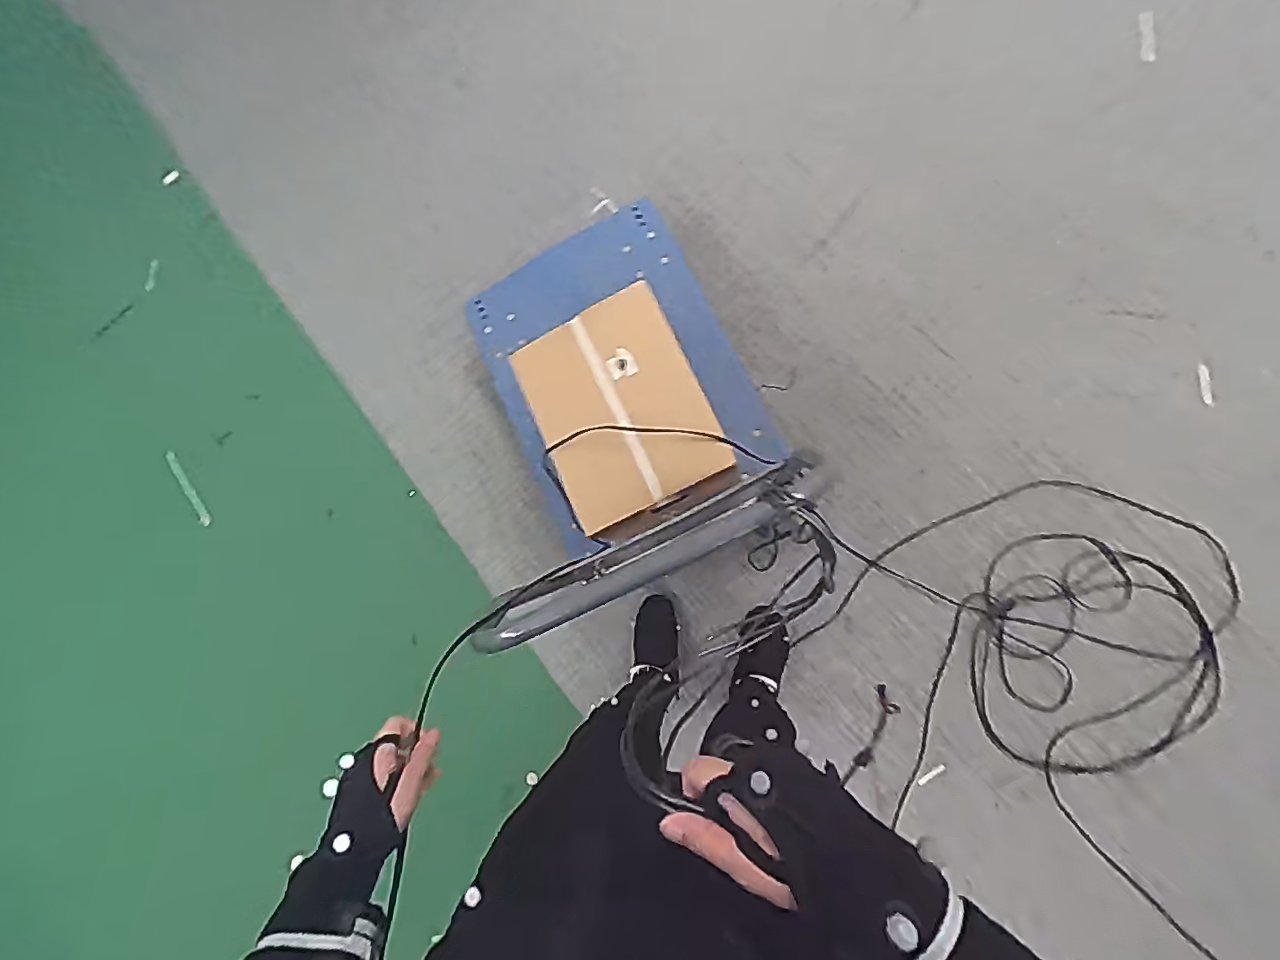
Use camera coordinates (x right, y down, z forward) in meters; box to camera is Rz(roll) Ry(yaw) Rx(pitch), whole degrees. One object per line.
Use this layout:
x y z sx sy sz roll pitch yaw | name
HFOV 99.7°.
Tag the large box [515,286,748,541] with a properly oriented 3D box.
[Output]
0.000 -0.114 1.157 0.320 0.320 0.408 -26 78 8 | large box
